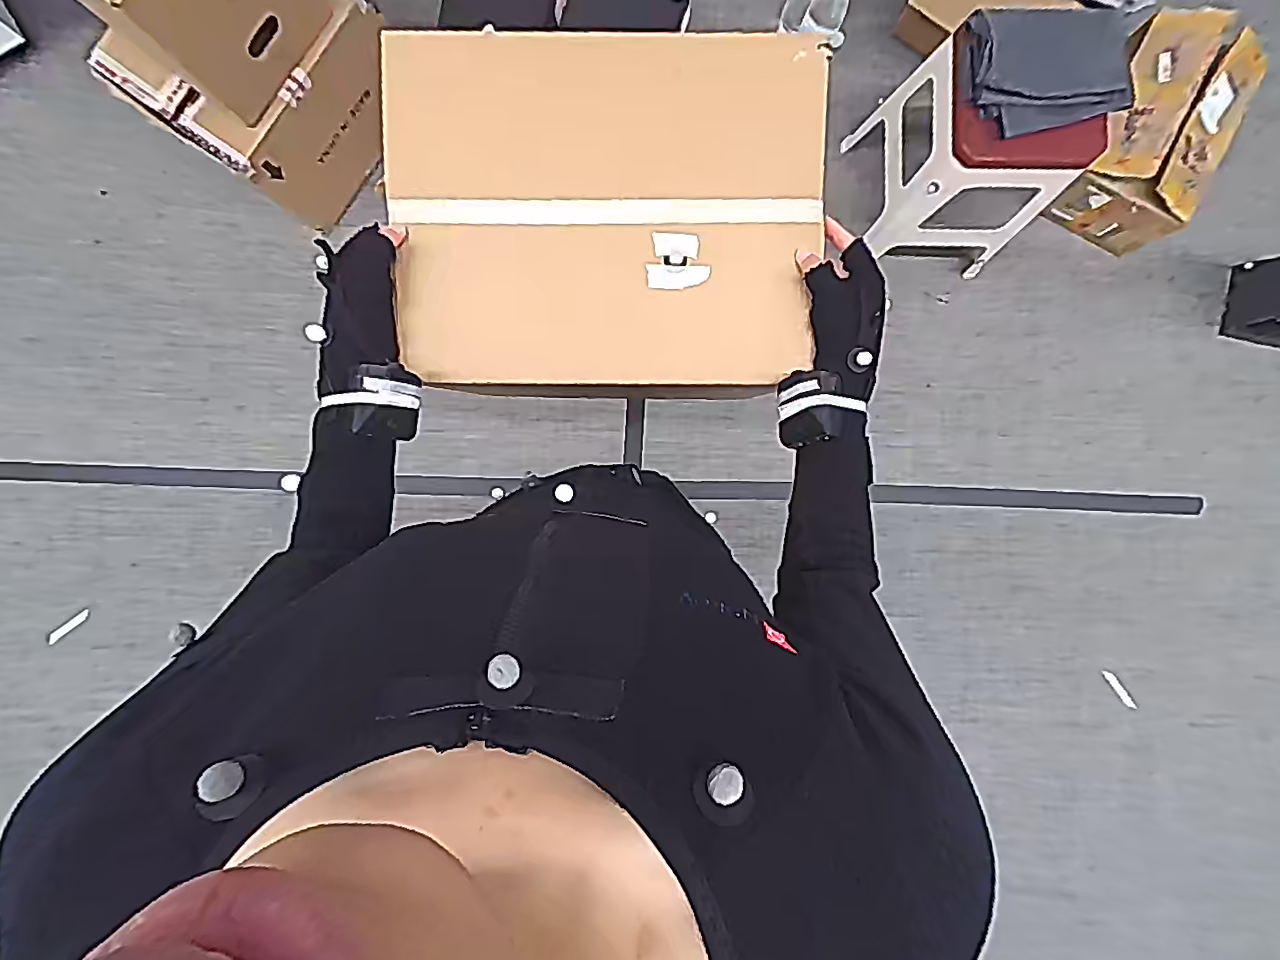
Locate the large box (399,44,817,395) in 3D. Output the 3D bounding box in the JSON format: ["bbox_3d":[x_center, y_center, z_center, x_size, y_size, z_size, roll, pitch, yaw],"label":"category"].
[{"bbox_3d":[-0.031,-0.273,0.674,0.408,0.320,0.320,0,97,-1],"label":"large box"}]
